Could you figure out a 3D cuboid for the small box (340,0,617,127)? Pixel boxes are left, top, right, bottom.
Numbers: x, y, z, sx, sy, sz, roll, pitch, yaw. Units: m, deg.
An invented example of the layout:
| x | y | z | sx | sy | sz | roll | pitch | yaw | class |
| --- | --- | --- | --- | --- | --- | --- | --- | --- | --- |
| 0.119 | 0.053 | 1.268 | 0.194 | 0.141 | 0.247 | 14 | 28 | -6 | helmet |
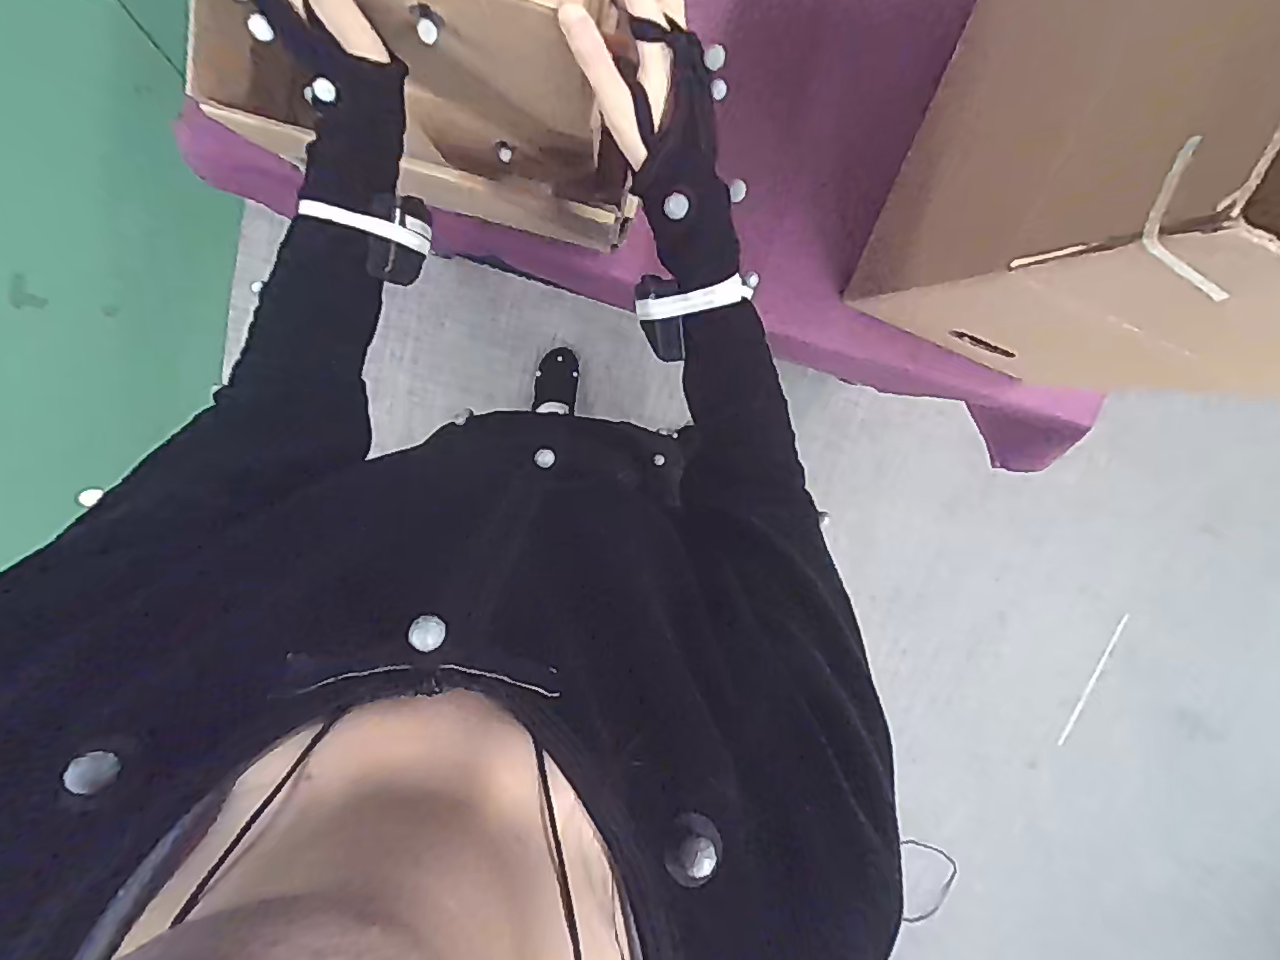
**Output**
| x | y | z | sx | sy | sz | roll | pitch | yaw | class |
| --- | --- | --- | --- | --- | --- | --- | --- | --- | --- |
| -0.105 | -0.375 | 0.363 | 0.179 | 0.176 | 0.168 | 13 | 102 | -7 | small box |
